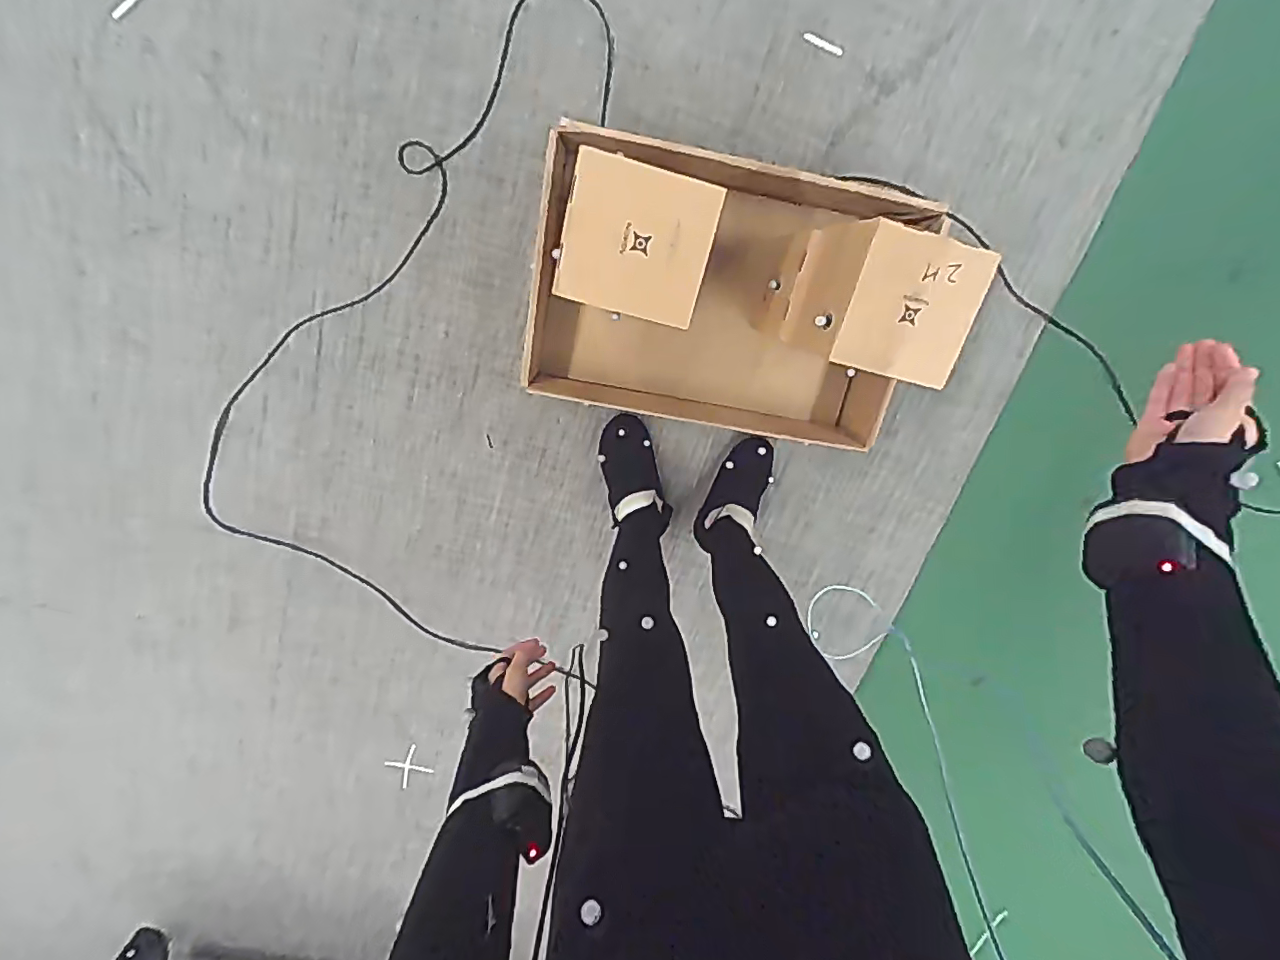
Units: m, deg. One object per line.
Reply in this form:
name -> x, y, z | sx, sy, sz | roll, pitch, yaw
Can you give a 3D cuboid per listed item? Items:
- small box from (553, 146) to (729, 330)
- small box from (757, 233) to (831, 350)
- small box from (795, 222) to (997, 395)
small box -> -0.006, -0.308, 0.714 | 0.179, 0.176, 0.168 | 13, 110, -9
small box -> 0.314, -0.296, 0.906 | 0.179, 0.176, 0.168 | 14, 108, -7
small box -> 0.336, -0.236, 0.754 | 0.168, 0.176, 0.179 | 13, 108, -8
